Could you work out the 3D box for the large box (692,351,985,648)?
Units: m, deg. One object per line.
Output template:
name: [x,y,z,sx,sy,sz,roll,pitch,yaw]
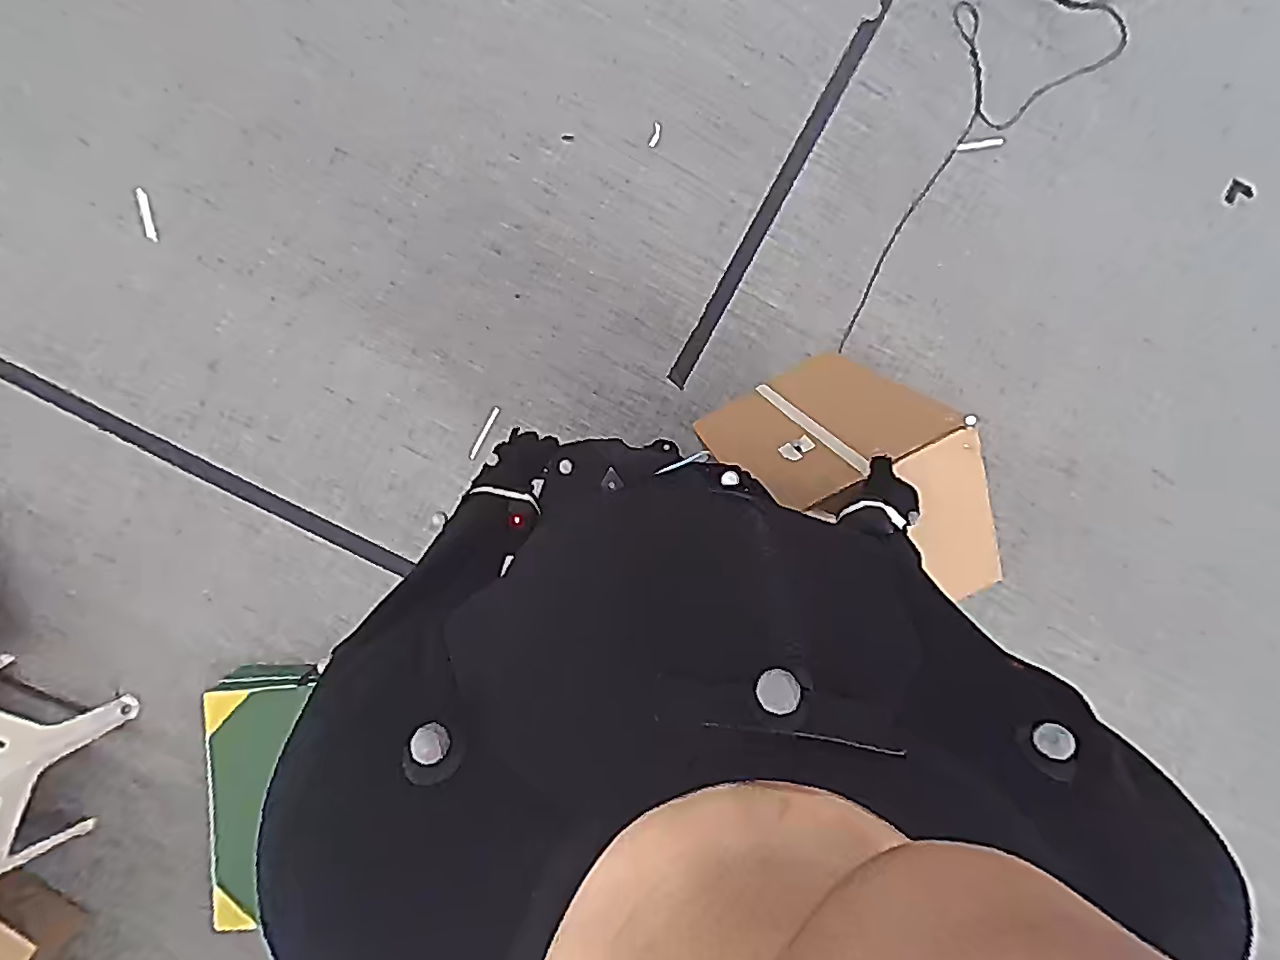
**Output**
large box: [0.339,0.015,0.992,0.320,0.408,0.320,-28,121,4]
